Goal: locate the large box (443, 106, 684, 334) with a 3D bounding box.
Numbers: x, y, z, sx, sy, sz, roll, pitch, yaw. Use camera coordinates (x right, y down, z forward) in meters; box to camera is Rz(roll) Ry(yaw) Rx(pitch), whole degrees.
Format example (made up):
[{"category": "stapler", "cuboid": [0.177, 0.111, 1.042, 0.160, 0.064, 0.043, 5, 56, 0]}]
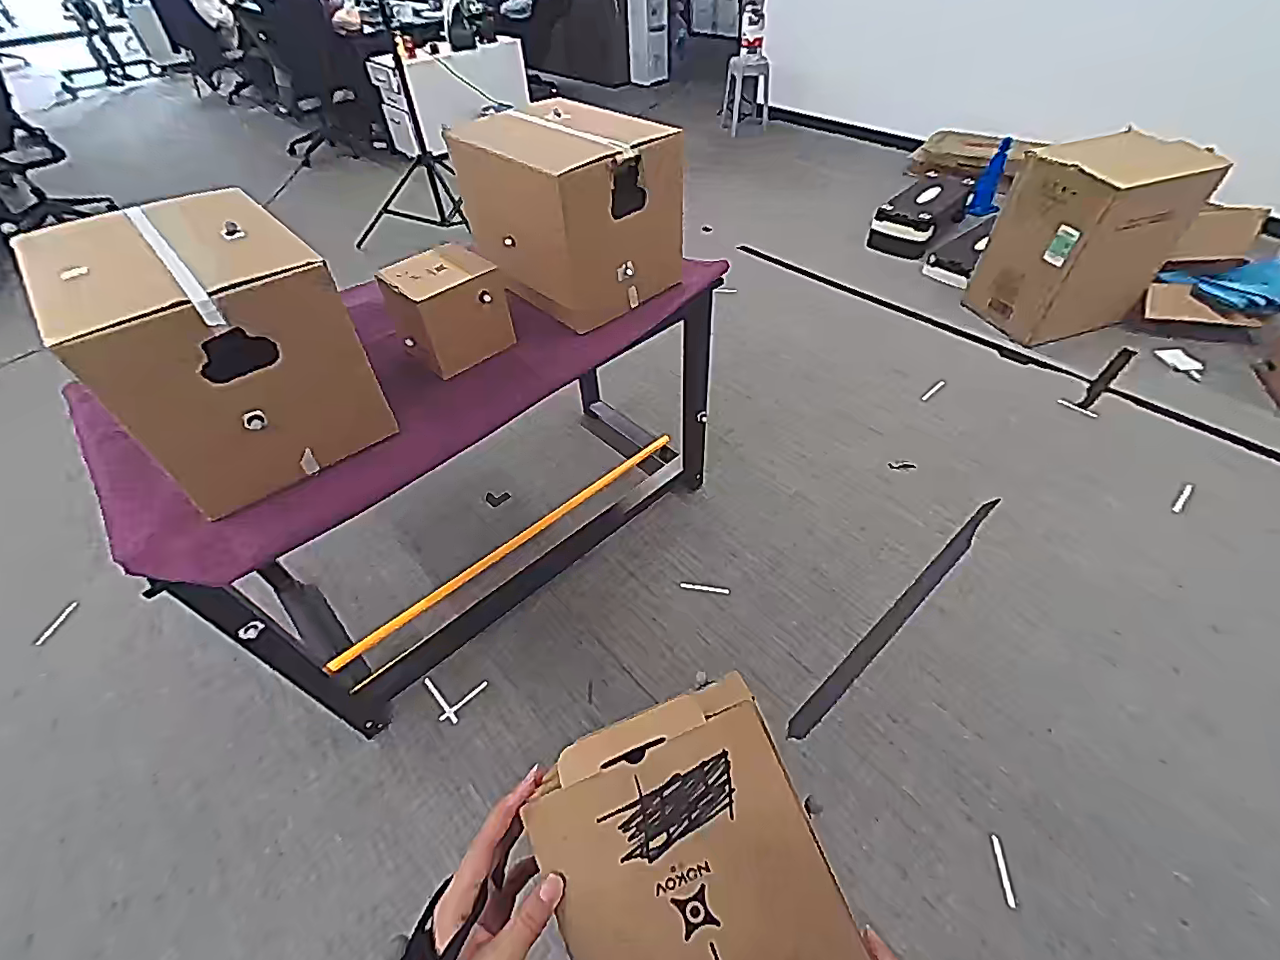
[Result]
[{"category": "large box", "cuboid": [-0.150, -0.575, 1.179, 0.320, 0.320, 0.408, -35, 54, -26]}]
